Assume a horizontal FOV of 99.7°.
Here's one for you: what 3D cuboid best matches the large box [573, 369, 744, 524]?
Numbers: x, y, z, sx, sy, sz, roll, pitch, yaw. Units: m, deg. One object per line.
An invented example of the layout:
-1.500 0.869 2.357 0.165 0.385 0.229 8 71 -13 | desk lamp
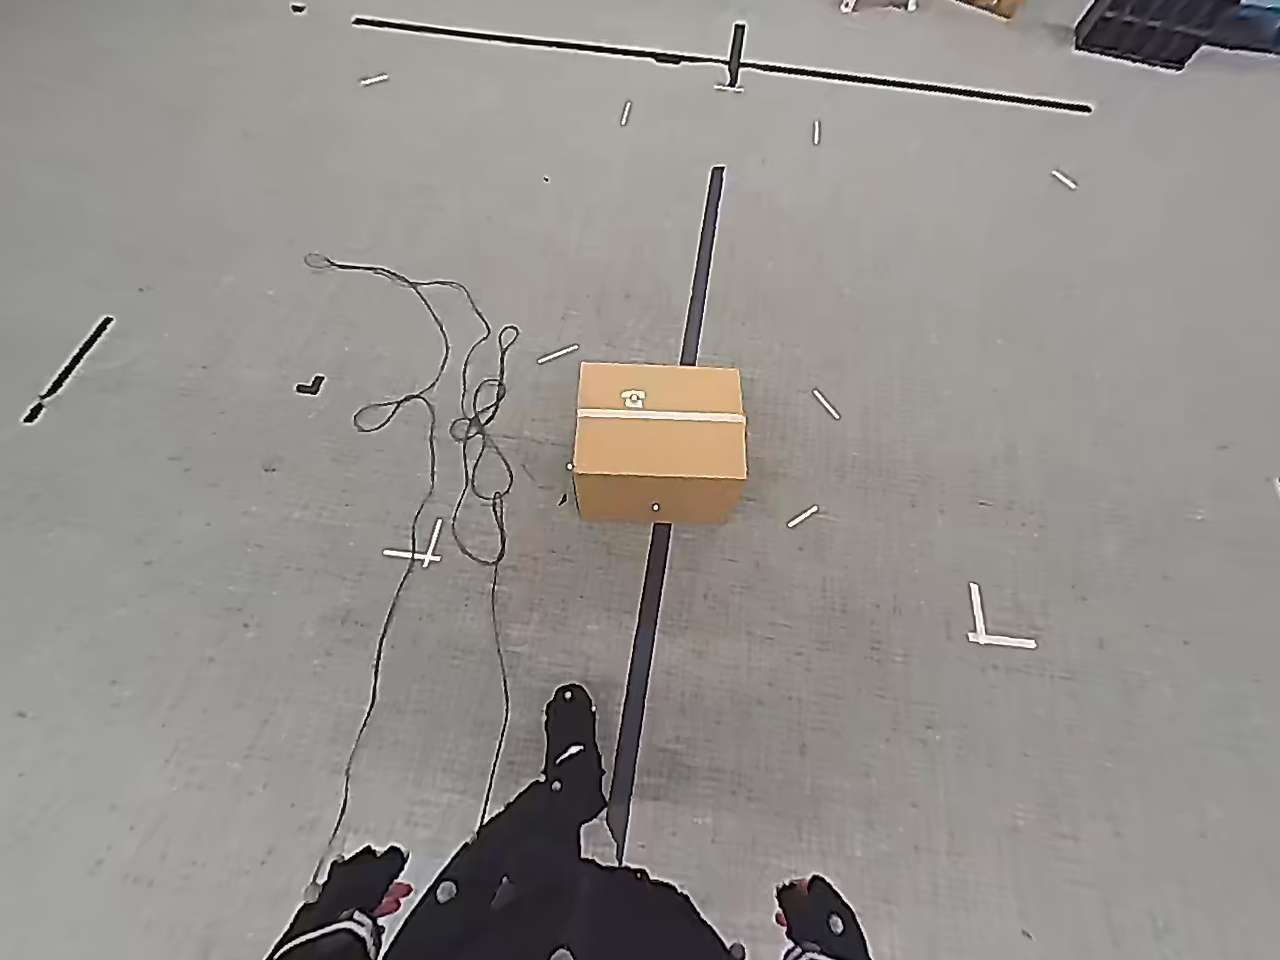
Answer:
0.046 -0.077 1.444 0.408 0.320 0.320 2 65 0 | large box
